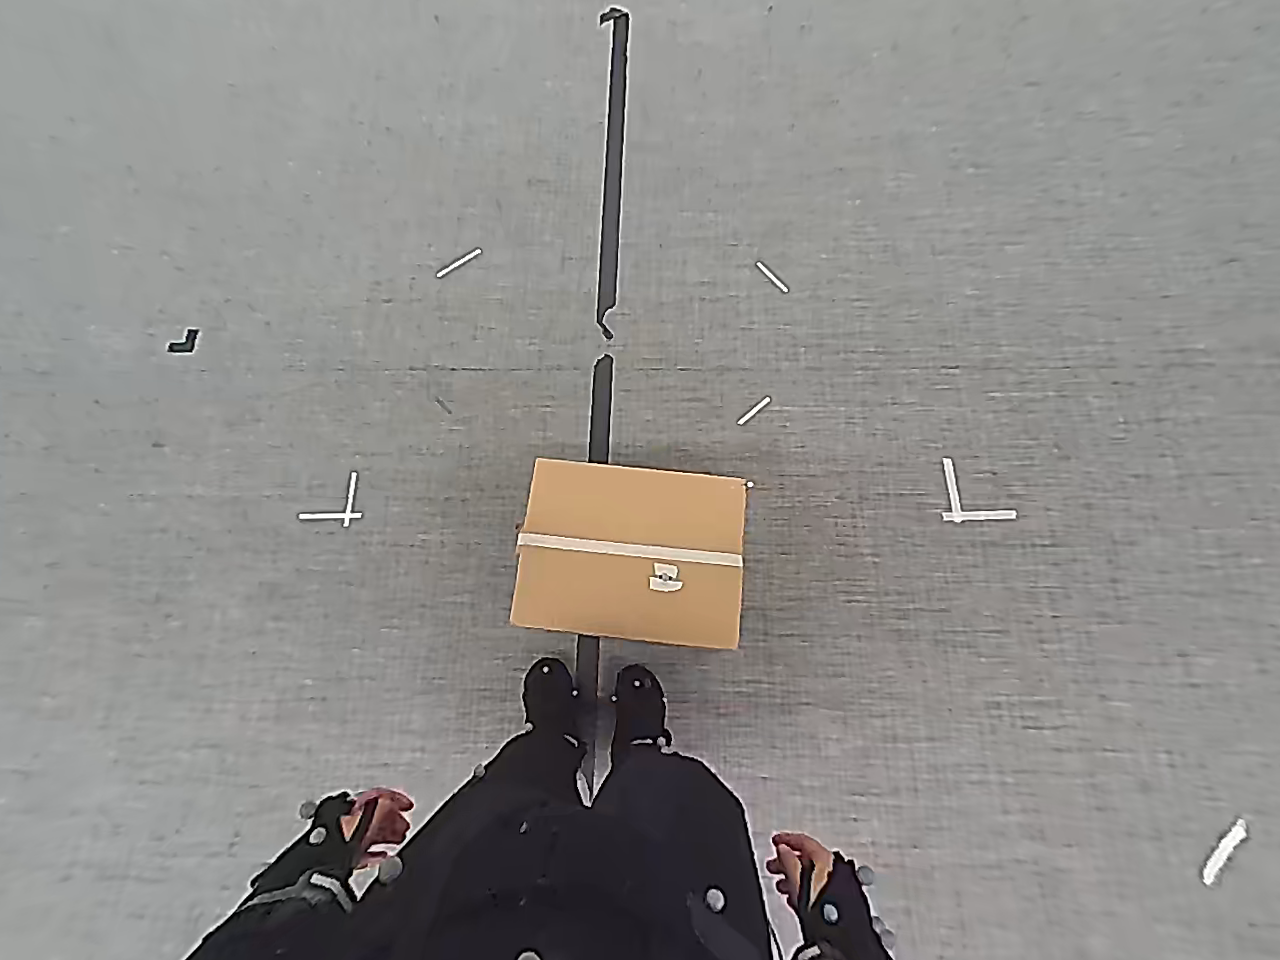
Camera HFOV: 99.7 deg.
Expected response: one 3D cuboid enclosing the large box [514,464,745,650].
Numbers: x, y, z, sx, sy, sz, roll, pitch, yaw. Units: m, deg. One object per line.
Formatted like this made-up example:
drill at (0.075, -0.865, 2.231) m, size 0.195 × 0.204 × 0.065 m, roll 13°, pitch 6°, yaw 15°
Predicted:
large box at (-0.014, 0.174, 1.127) m, size 0.408 × 0.320 × 0.320 m, roll 6°, pitch 75°, yaw 1°
